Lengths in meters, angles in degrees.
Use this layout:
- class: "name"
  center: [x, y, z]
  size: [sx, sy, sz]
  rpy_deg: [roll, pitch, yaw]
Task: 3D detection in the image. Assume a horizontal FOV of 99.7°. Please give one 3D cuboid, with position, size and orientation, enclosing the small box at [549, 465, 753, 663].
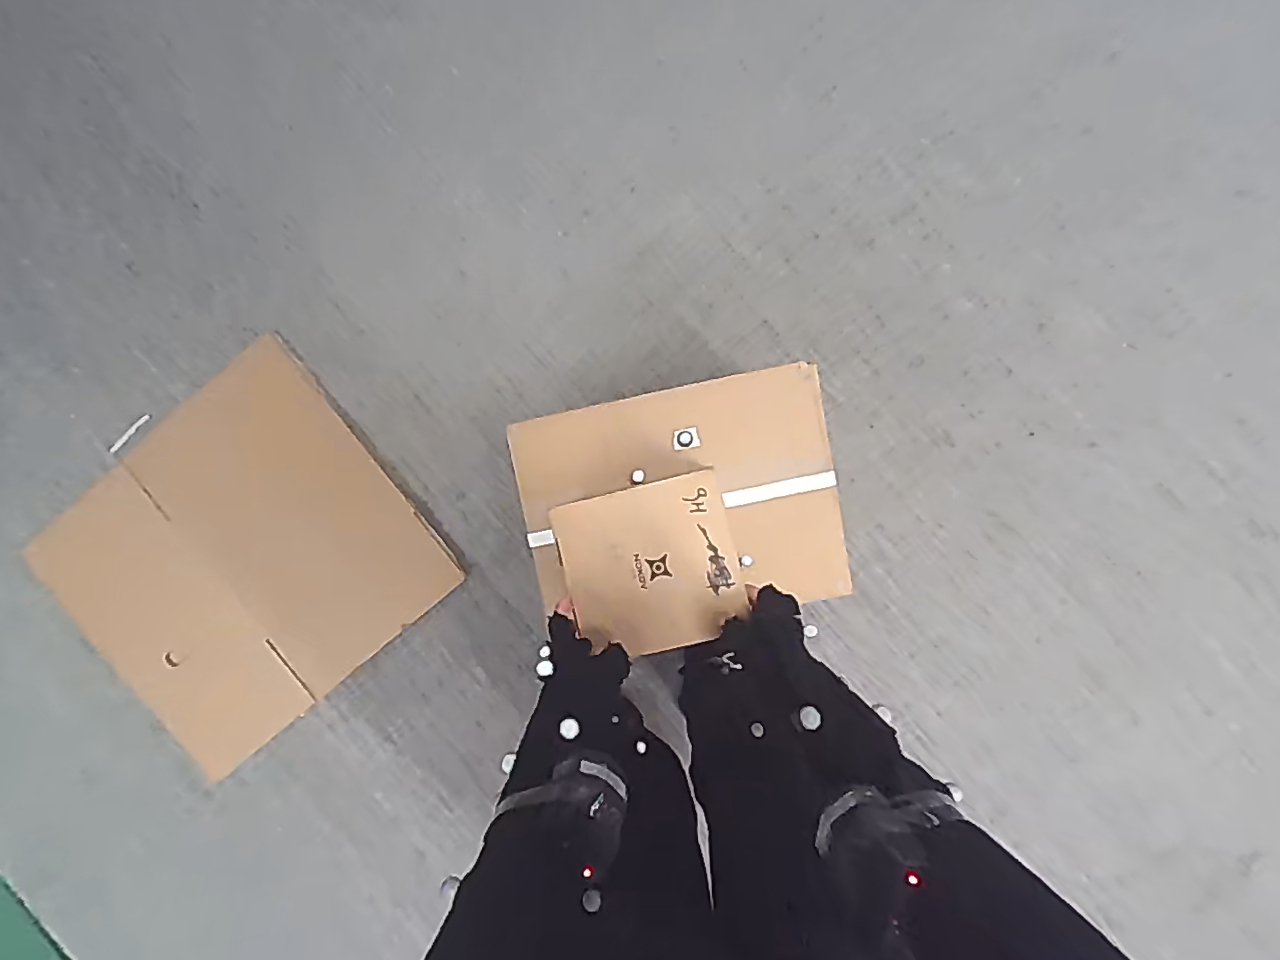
- class: "small box"
  center: [0.018, 0.088, 0.623]
  size: [0.179, 0.176, 0.168]
  rpy_deg: [-17, 88, 5]
